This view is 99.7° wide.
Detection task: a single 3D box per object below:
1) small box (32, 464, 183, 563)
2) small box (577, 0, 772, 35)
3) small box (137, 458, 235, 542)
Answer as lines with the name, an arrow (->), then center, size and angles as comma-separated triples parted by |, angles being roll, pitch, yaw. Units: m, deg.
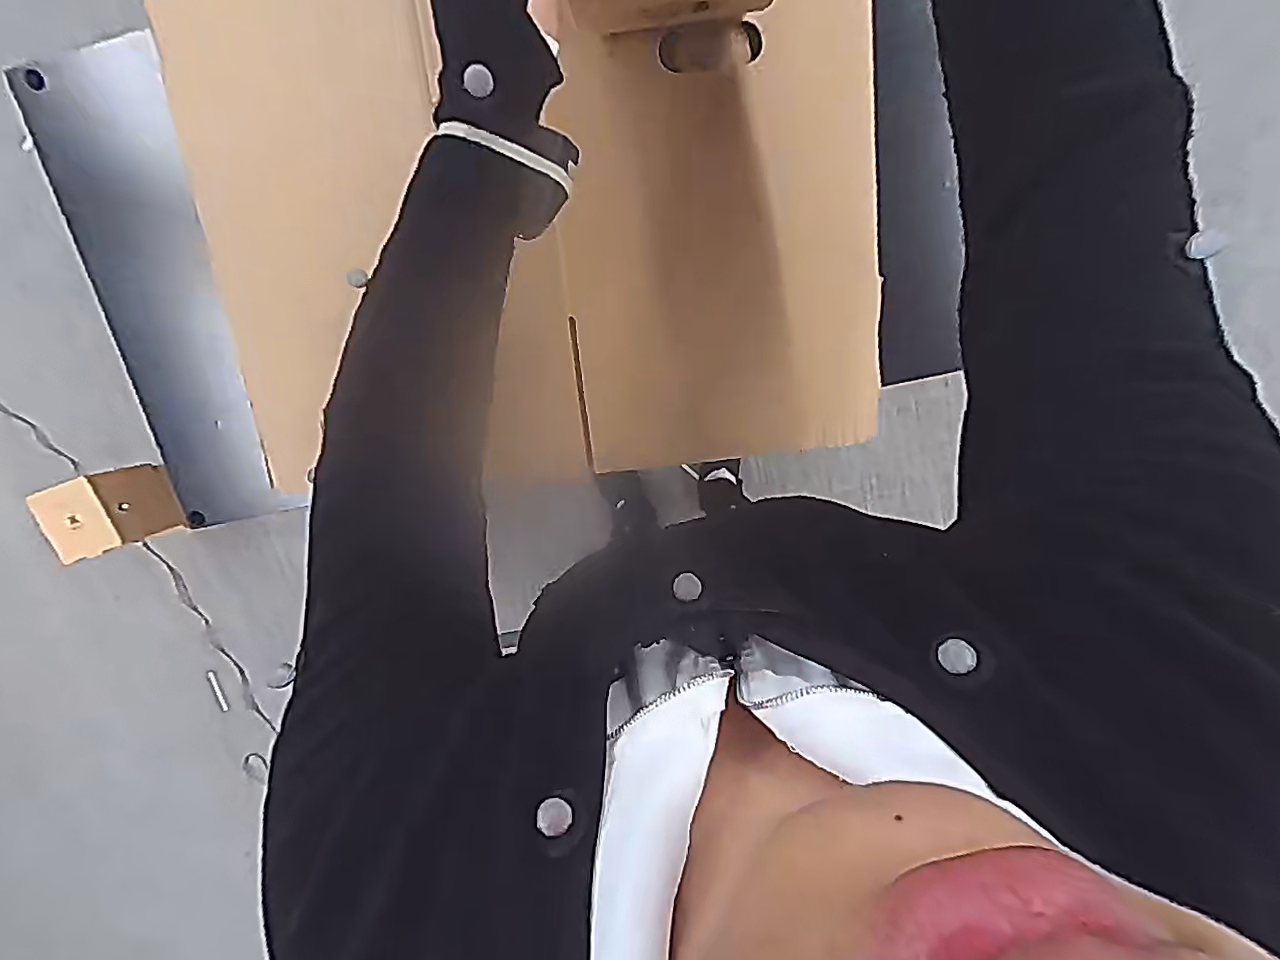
small box -> -1.285, 0.076, 1.321 | 0.168, 0.176, 0.179 | -19, 99, 6
small box -> 0.019, -0.443, 0.351 | 0.168, 0.176, 0.179 | -6, 104, 4
small box -> -1.273, 0.046, 1.481 | 0.168, 0.176, 0.179 | -15, 102, 6
